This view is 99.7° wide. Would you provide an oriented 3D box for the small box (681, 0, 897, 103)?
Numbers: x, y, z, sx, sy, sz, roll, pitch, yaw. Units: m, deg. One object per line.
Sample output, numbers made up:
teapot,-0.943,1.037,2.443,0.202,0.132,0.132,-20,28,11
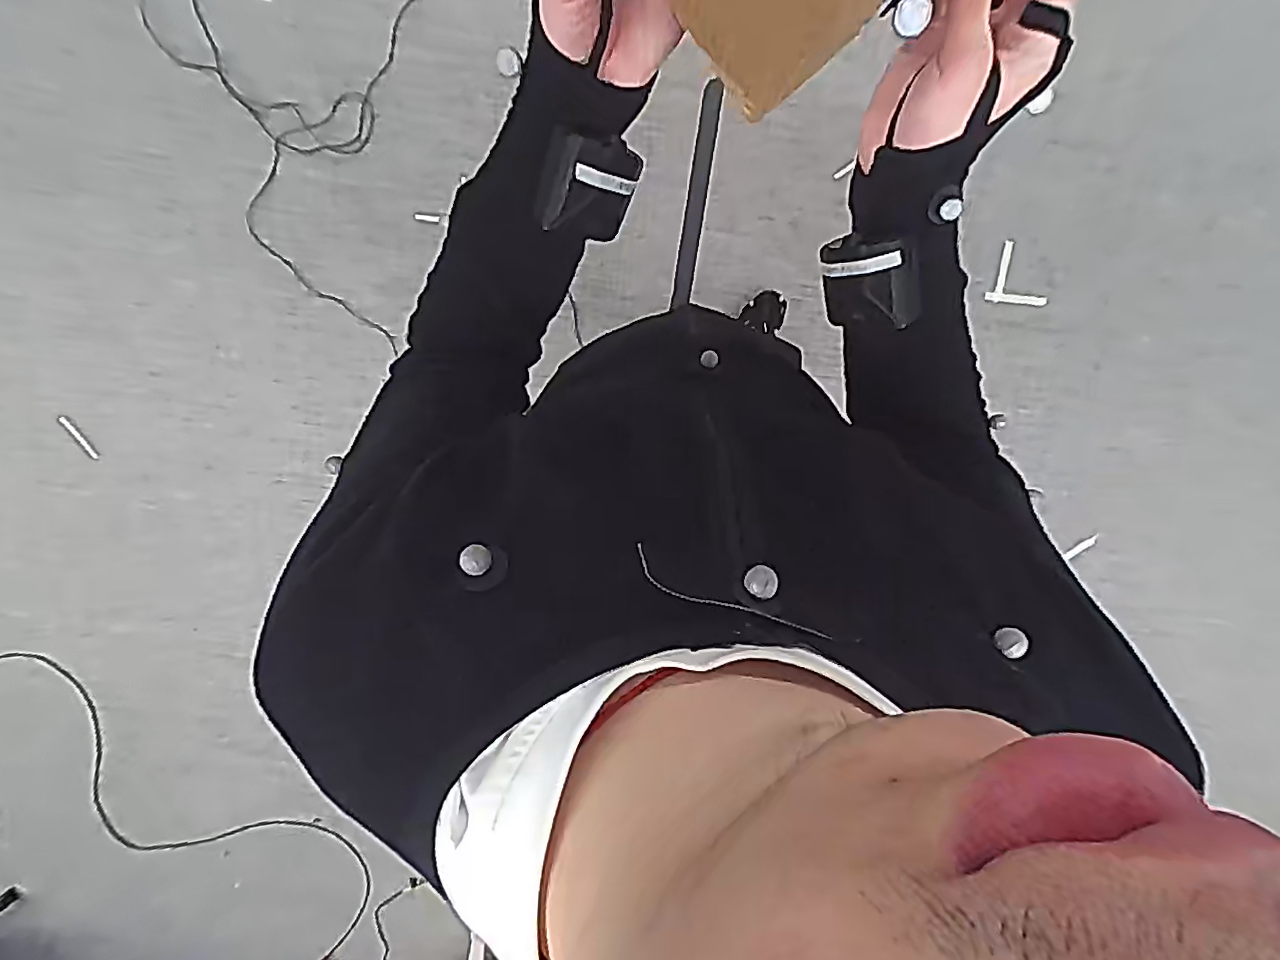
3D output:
small box,0.071,-0.277,0.178,0.168,0.176,0.179,-38,106,13
